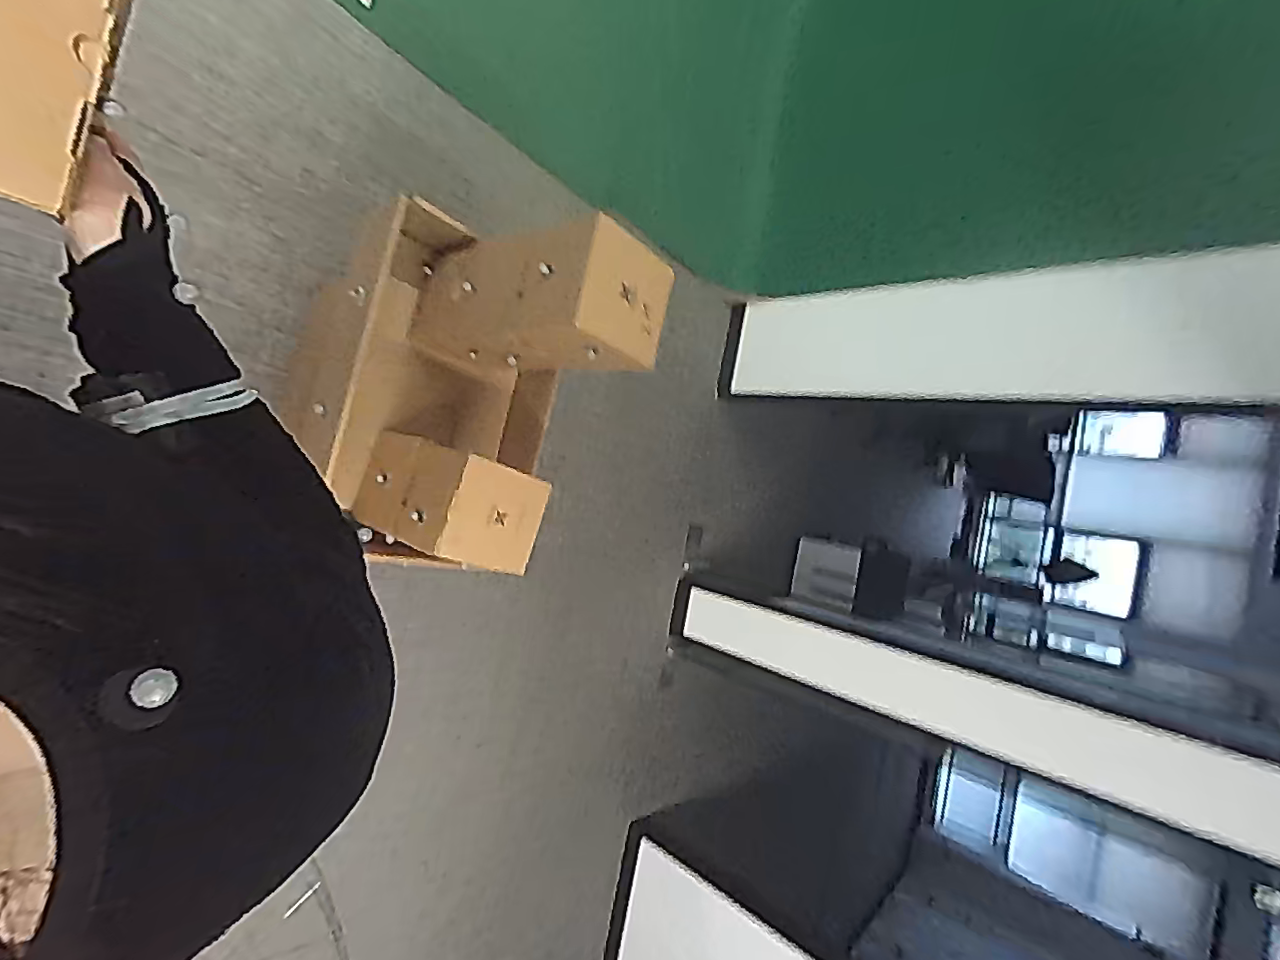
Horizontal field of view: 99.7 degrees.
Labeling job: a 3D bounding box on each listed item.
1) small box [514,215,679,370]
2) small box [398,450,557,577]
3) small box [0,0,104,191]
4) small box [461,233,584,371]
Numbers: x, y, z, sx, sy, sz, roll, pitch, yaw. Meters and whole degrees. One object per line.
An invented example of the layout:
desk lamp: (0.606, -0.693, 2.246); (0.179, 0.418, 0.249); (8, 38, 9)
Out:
small box: (-0.069, -0.276, 0.847); (0.179, 0.176, 0.168); (18, 84, -48)
small box: (-0.279, 0.053, 0.924); (0.179, 0.176, 0.168); (27, 79, -48)
small box: (-0.388, -0.259, 0.254); (0.179, 0.176, 0.168); (12, 103, -47)
small box: (-0.192, -0.300, 0.955); (0.168, 0.176, 0.179); (15, 86, -48)
